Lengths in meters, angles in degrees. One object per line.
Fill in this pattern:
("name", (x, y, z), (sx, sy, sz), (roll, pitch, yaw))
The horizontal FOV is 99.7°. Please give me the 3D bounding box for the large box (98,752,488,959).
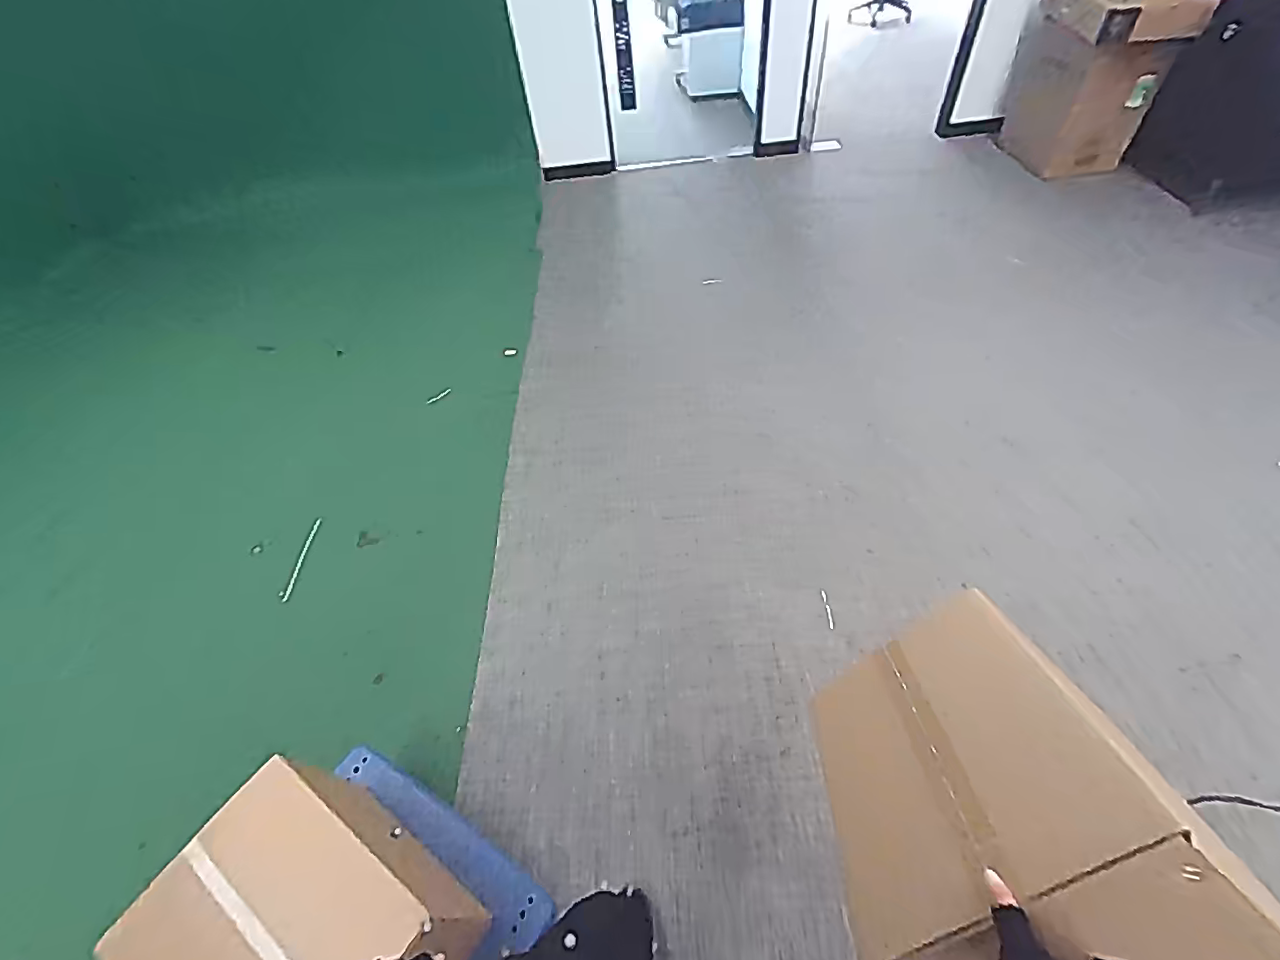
("large box", (-0.537, 0.739, 0.903), (0.408, 0.320, 0.320), (25, 58, 23))
